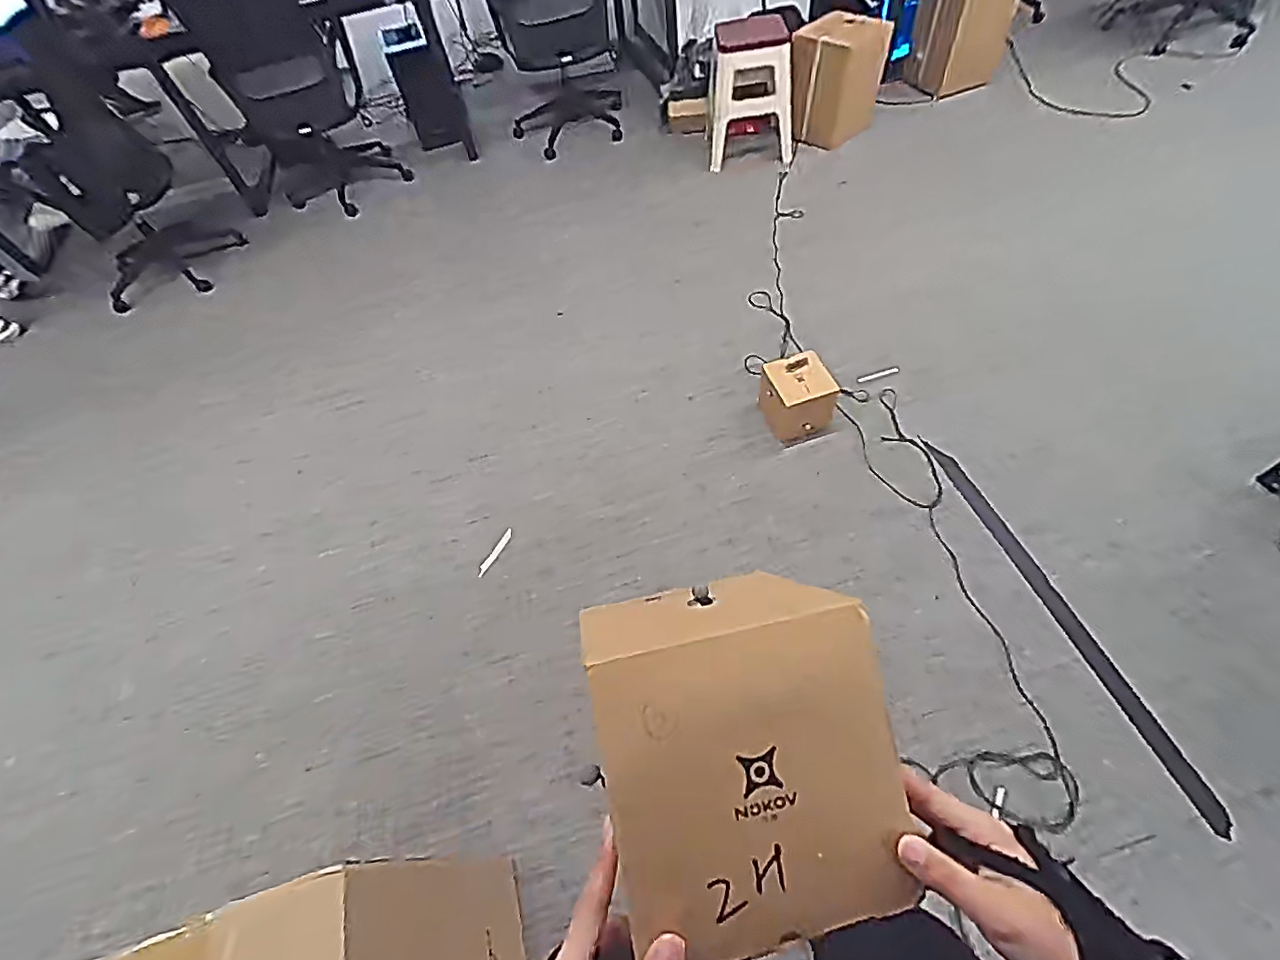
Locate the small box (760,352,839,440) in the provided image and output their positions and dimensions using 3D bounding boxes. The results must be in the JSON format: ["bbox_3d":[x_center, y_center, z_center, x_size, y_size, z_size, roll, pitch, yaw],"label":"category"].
[{"bbox_3d":[0.475,-0.253,1.644,0.168,0.176,0.179,-18,56,-4],"label":"small box"}]

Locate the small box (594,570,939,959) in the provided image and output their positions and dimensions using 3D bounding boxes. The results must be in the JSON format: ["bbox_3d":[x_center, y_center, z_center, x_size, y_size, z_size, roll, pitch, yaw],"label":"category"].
[{"bbox_3d":[0.063,0.161,0.373,0.168,0.176,0.179,-9,86,-8],"label":"small box"}]
